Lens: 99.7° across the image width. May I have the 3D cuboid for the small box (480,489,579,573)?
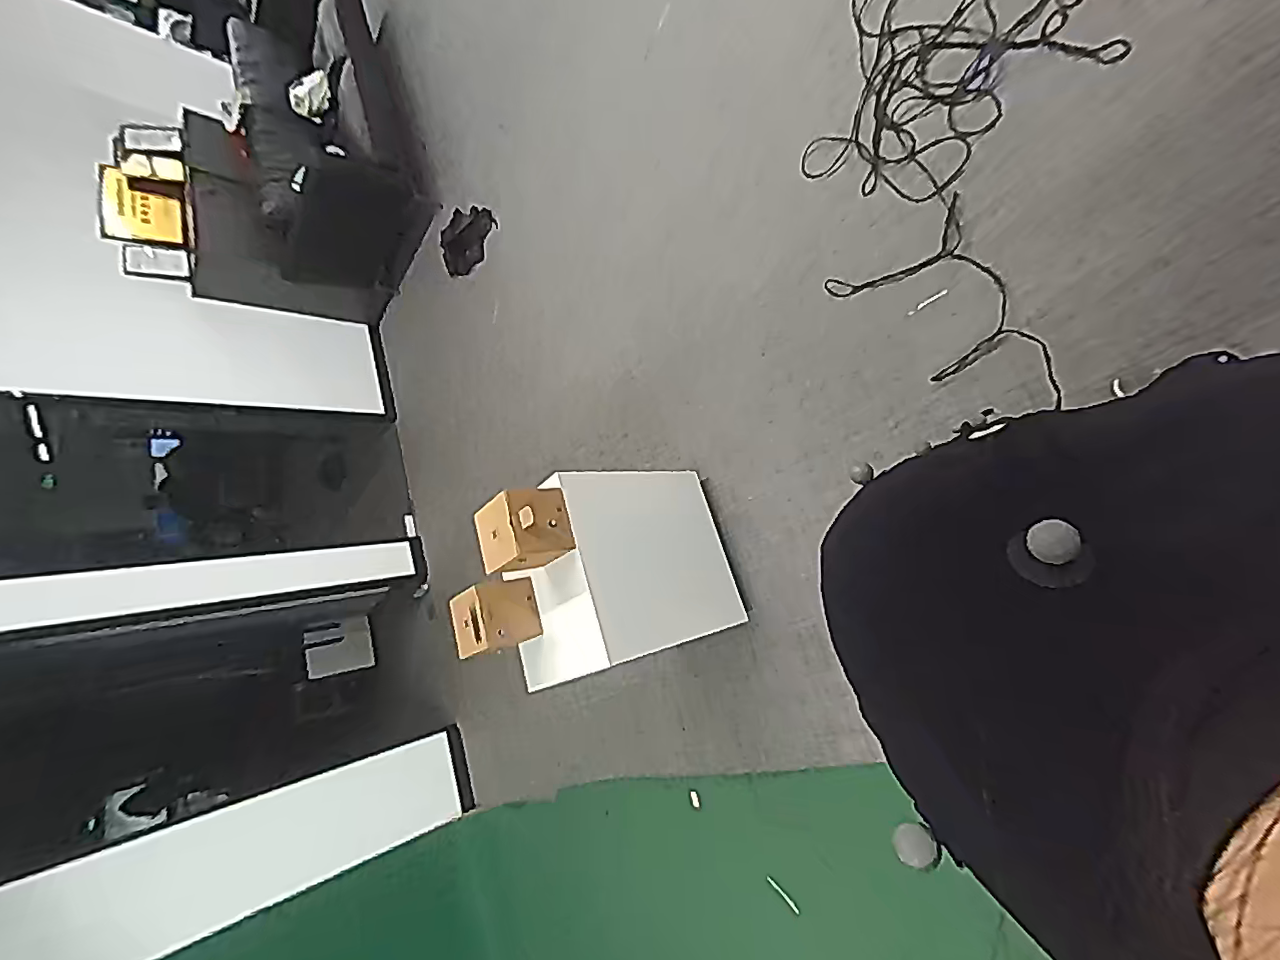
[{"bbox_3d":[-0.281,0.129,1.374,0.179,0.176,0.168,-33,67,43],"label":"small box"}]
